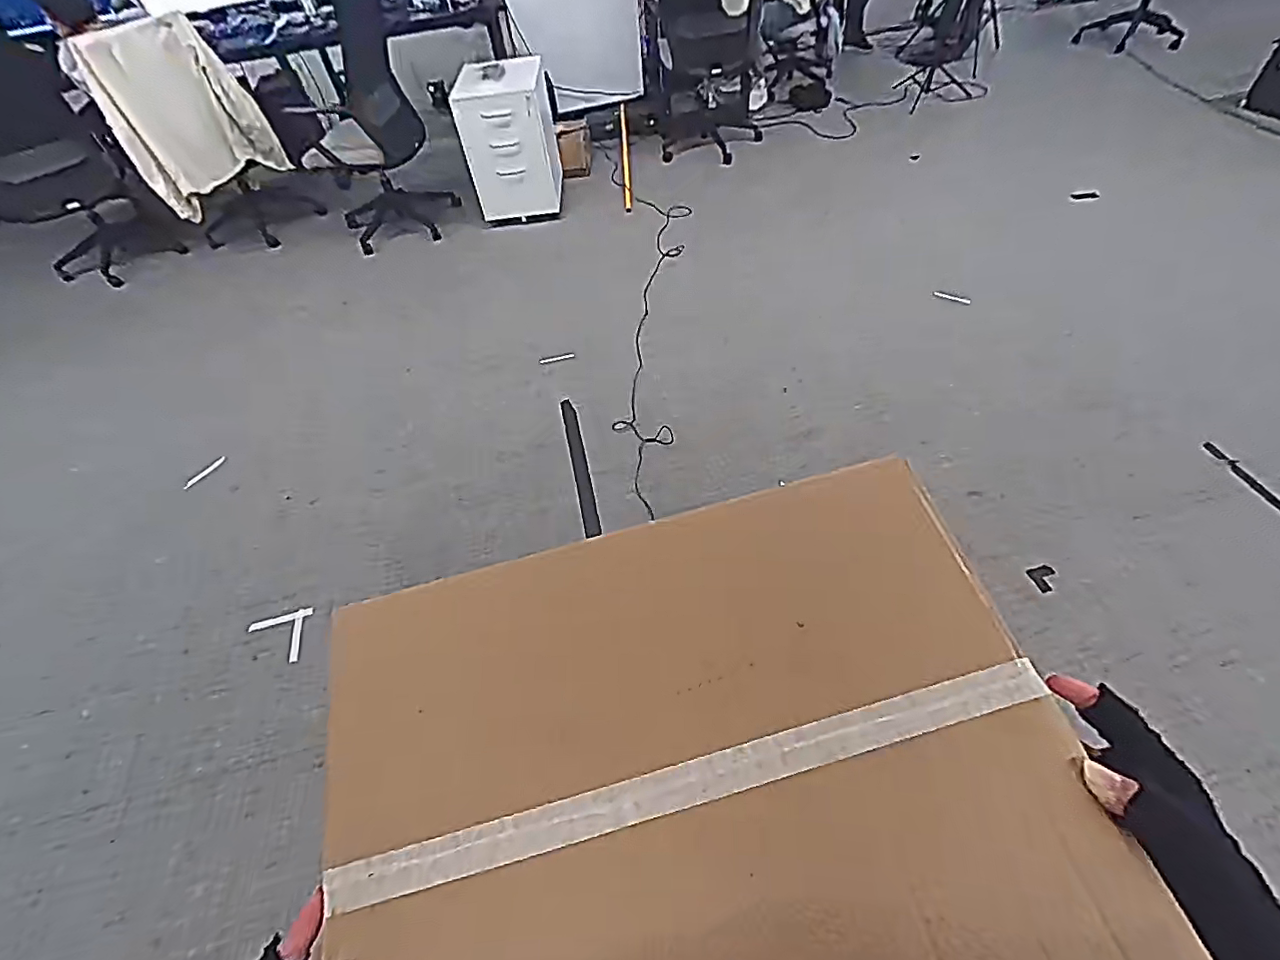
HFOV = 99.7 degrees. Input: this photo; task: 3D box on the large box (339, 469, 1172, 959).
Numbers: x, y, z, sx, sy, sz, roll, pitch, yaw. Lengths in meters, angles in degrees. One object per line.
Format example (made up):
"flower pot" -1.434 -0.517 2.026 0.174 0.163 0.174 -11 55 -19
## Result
"large box" 0.041 0.242 0.438 0.408 0.320 0.320 -16 59 -3
